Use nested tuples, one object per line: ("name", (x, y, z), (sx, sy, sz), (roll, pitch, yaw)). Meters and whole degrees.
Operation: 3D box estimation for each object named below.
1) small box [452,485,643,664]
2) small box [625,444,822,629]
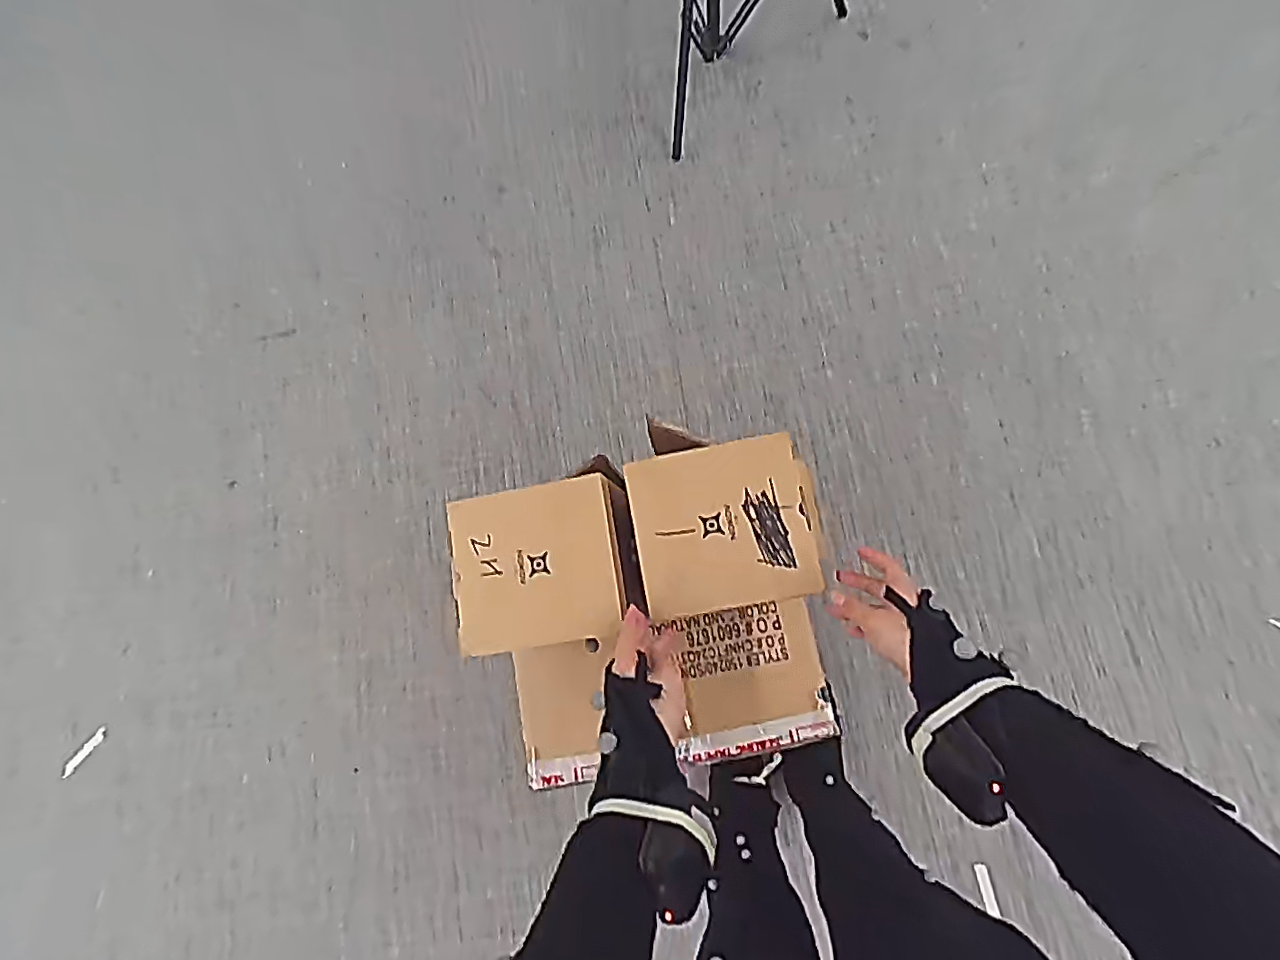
("small box", (-0.097, 0.111, 0.643), (0.179, 0.176, 0.168), (-11, 77, 7))
("small box", (0.089, 0.069, 0.628), (0.179, 0.176, 0.168), (-11, 78, 4))
